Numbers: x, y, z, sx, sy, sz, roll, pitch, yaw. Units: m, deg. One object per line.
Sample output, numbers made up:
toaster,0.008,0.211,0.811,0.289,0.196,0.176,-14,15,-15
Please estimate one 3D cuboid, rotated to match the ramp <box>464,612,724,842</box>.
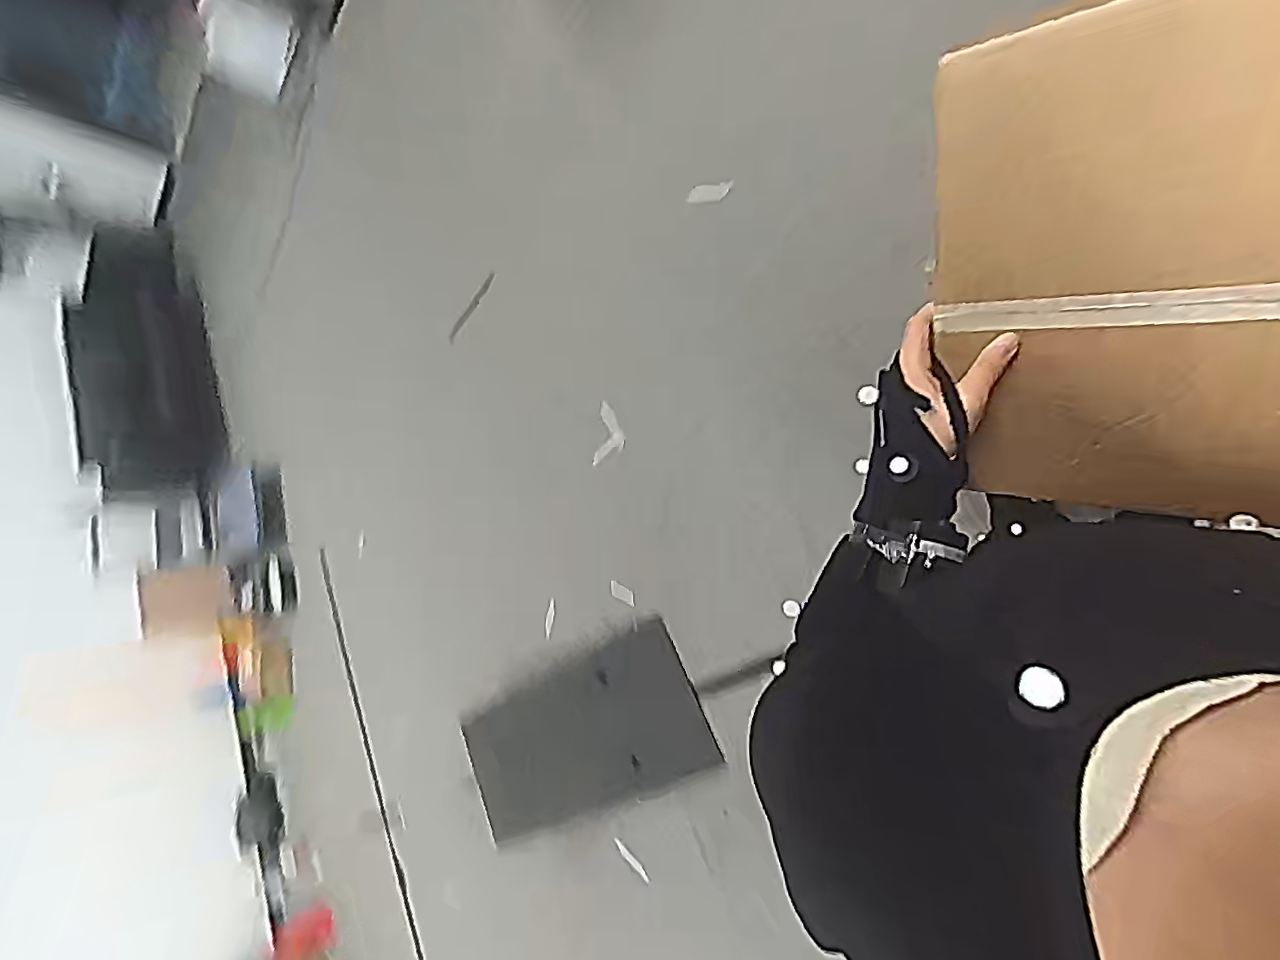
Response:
ramp,-0.220,0.884,1.893,0.991,0.206,0.509,-39,66,31
